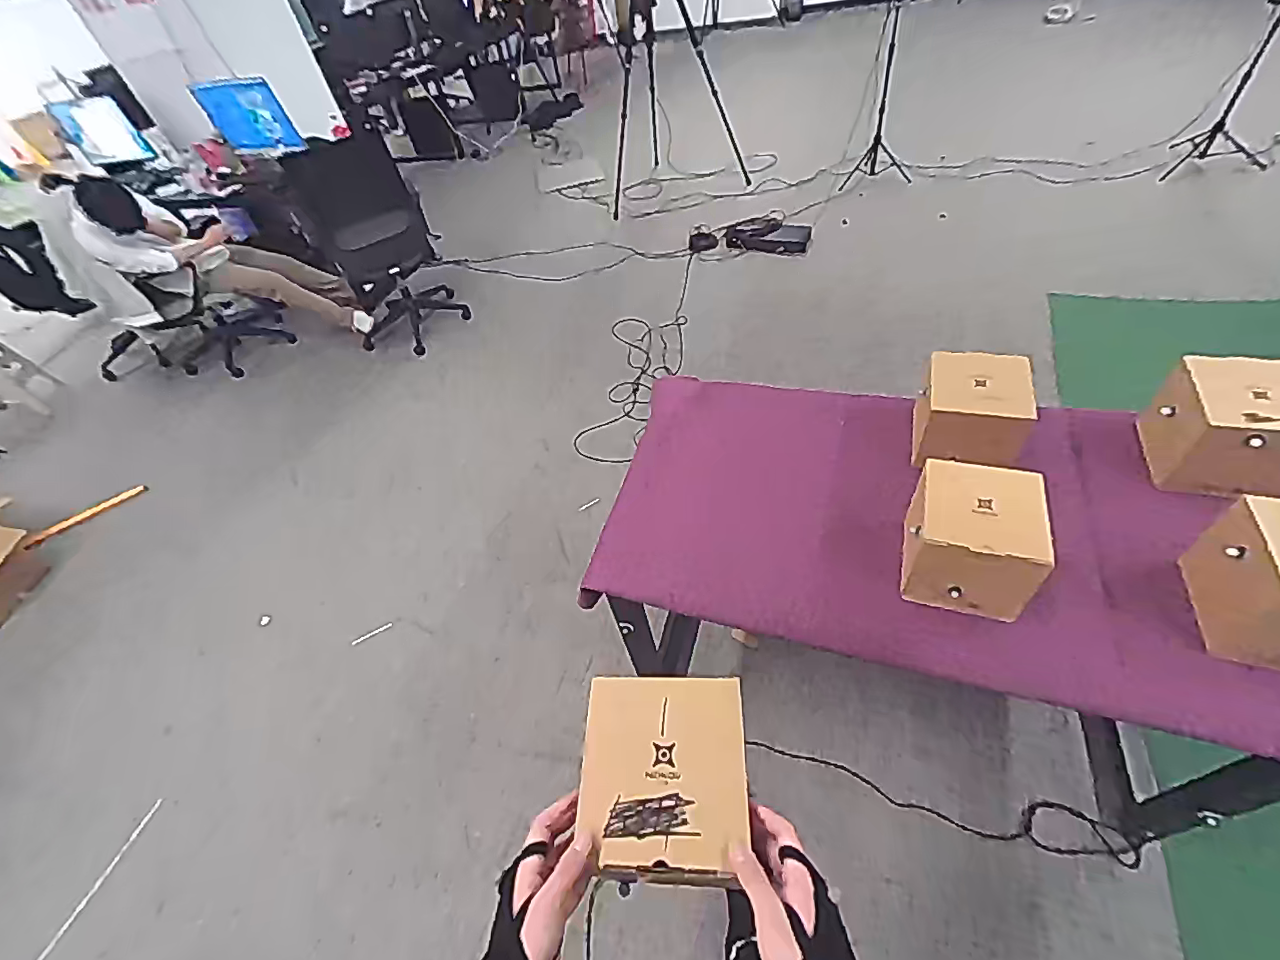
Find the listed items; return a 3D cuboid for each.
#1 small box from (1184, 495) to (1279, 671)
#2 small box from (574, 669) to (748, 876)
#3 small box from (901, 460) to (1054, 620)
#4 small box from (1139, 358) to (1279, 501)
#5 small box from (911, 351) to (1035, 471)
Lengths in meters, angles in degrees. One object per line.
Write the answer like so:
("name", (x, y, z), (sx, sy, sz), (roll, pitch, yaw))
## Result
("small box", (0.909, 0.150, 0.743), (0.168, 0.176, 0.179), (9, 50, 21))
("small box", (0.033, 0.328, 0.604), (0.168, 0.176, 0.179), (-2, 50, 7))
("small box", (0.531, 0.096, 0.875), (0.168, 0.176, 0.179), (10, 51, 19))
("small box", (1.014, -0.087, 0.934), (0.168, 0.176, 0.179), (8, 52, 20))
("small box", (0.635, -0.125, 1.051), (0.168, 0.176, 0.179), (10, 53, 20))
